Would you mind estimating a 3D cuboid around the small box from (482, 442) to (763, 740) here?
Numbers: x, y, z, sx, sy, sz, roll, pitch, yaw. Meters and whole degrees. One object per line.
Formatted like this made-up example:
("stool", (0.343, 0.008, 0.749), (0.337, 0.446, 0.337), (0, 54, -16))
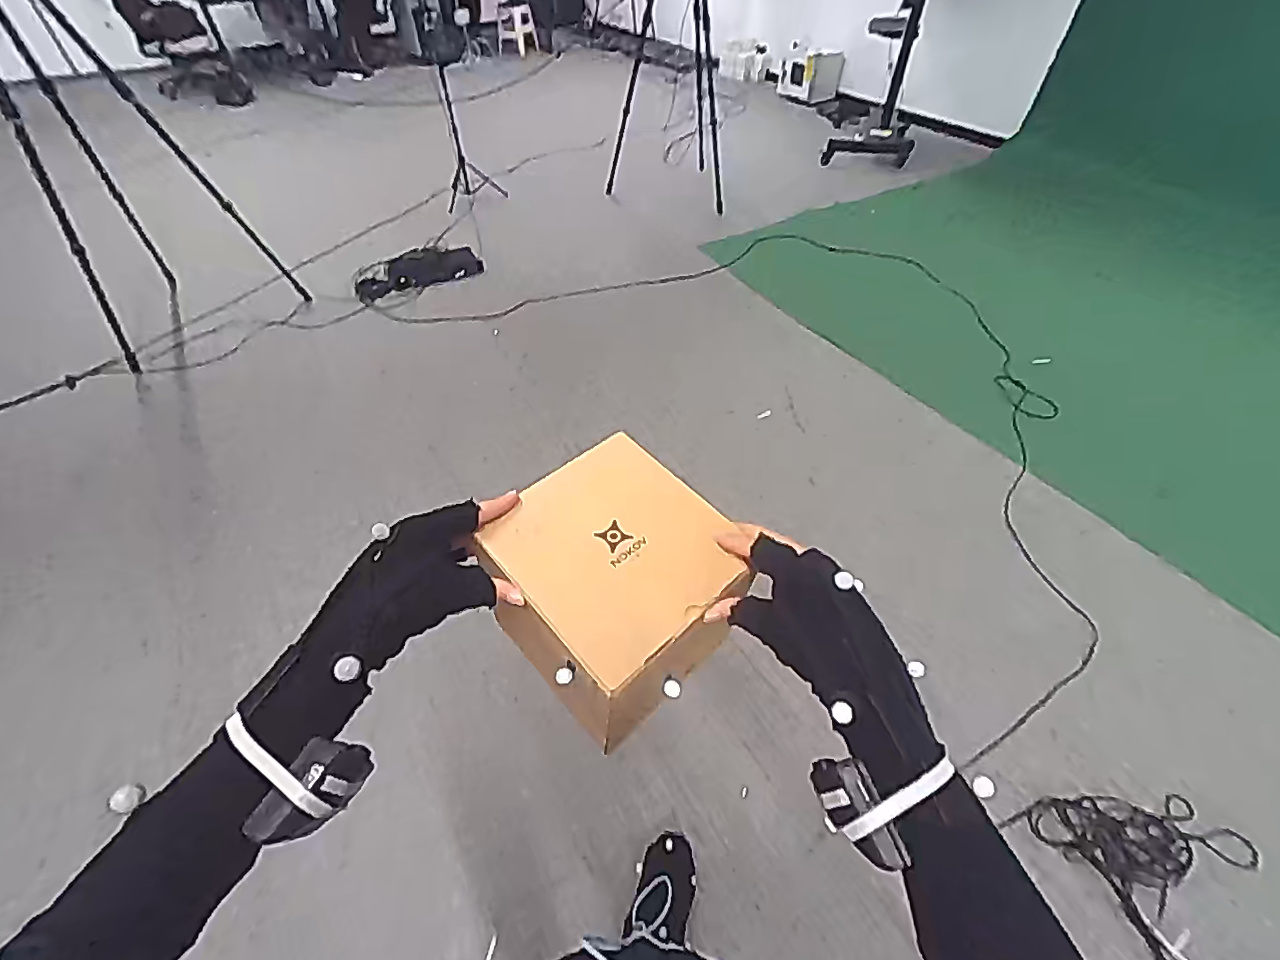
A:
("small box", (-0.021, 0.103, 0.501), (0.168, 0.176, 0.179), (-35, 61, -28))
